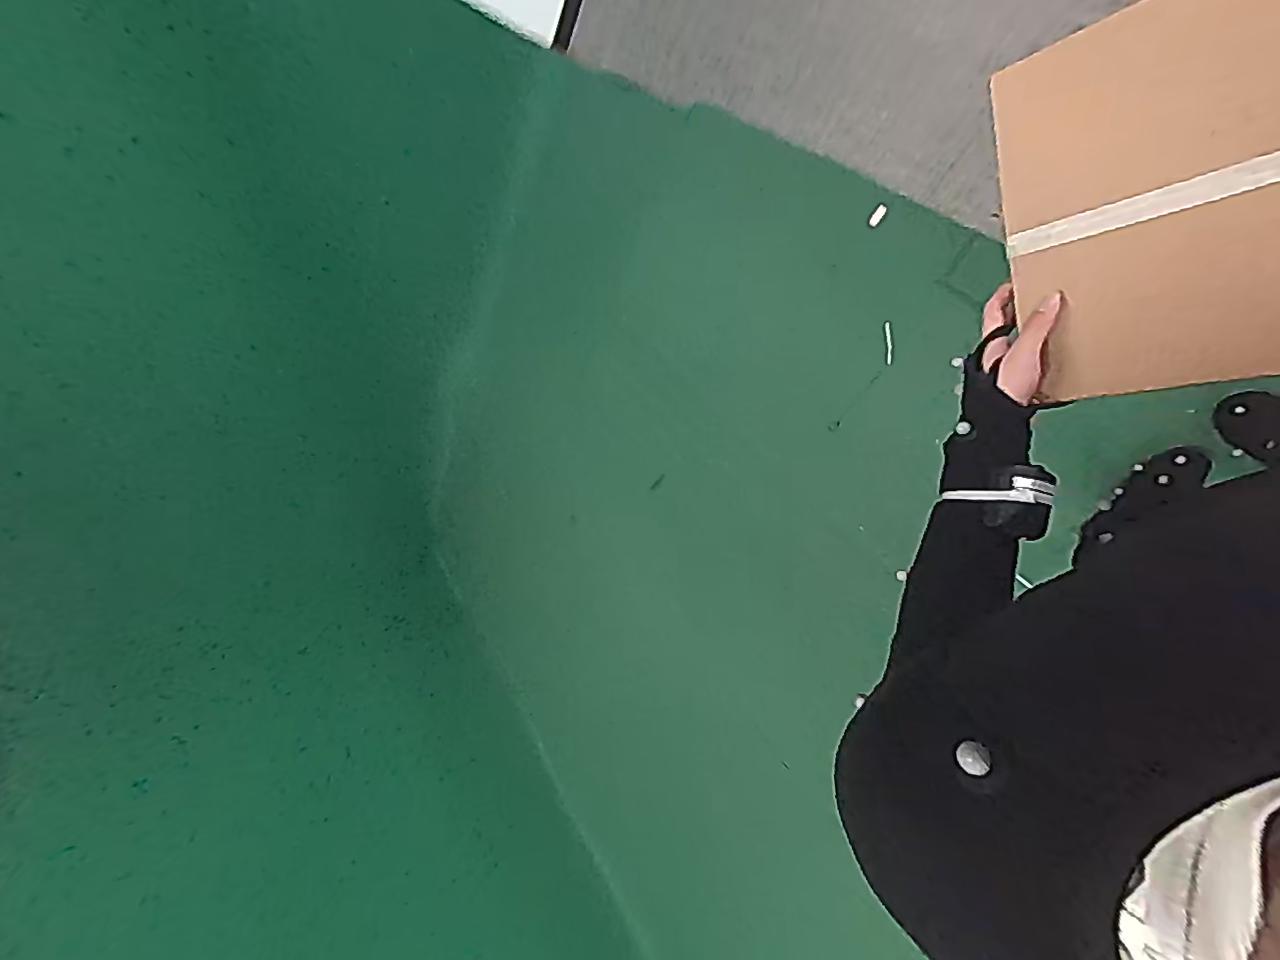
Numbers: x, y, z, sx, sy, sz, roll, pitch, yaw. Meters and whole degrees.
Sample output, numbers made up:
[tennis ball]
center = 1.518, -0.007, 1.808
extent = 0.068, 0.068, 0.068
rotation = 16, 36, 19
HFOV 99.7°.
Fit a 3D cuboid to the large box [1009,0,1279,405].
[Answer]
[large box]
center = 0.617, -0.266, 0.495
extent = 0.408, 0.320, 0.320
rotation = -4, 100, 44
